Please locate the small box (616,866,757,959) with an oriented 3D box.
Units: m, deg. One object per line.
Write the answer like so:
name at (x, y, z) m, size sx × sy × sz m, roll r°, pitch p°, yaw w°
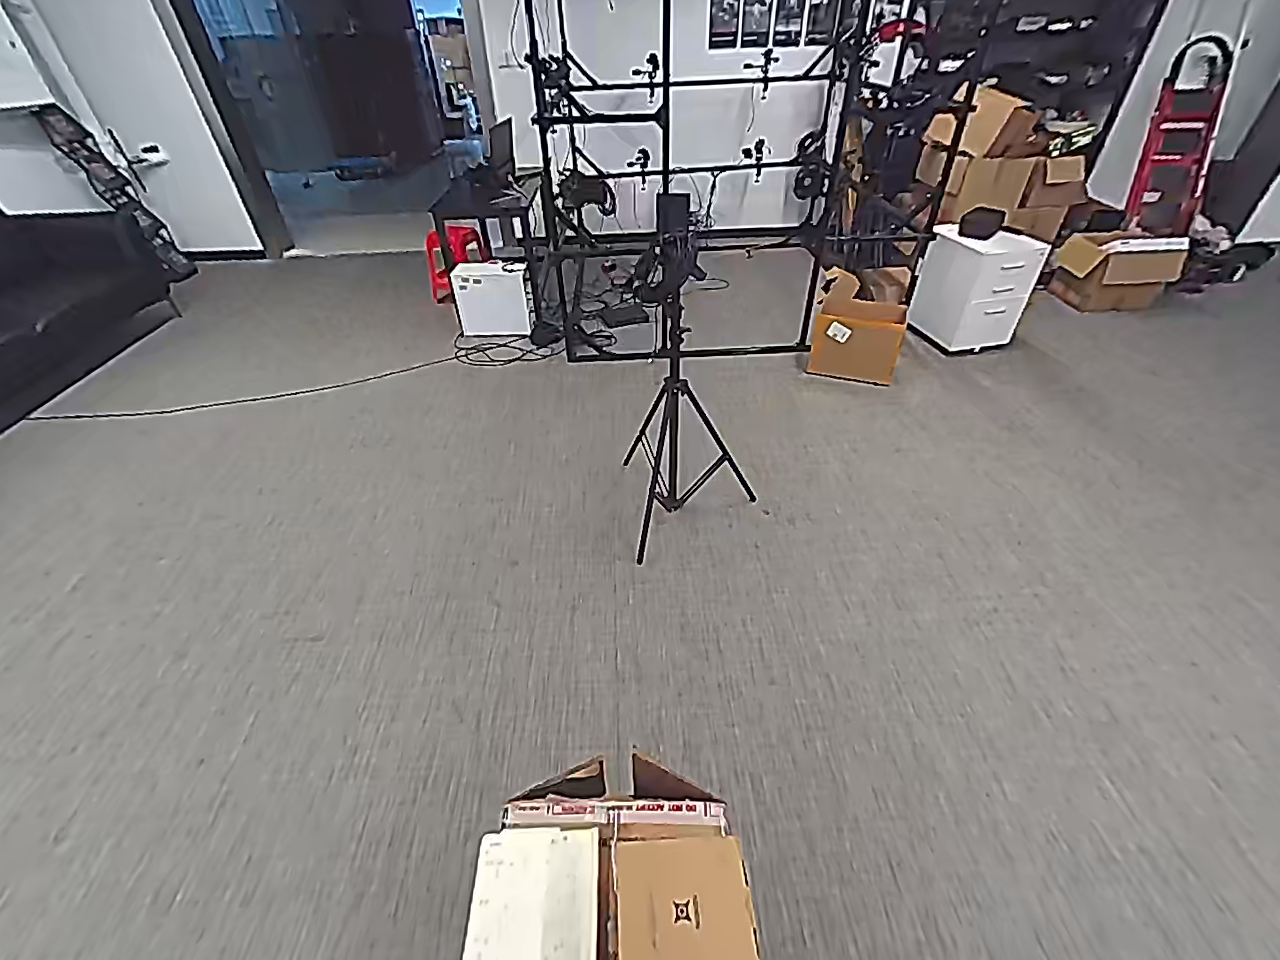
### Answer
small box at (0.058, 0.648, 0.732) m, size 0.179 × 0.176 × 0.168 m, roll -3°, pitch 41°, yaw -3°
